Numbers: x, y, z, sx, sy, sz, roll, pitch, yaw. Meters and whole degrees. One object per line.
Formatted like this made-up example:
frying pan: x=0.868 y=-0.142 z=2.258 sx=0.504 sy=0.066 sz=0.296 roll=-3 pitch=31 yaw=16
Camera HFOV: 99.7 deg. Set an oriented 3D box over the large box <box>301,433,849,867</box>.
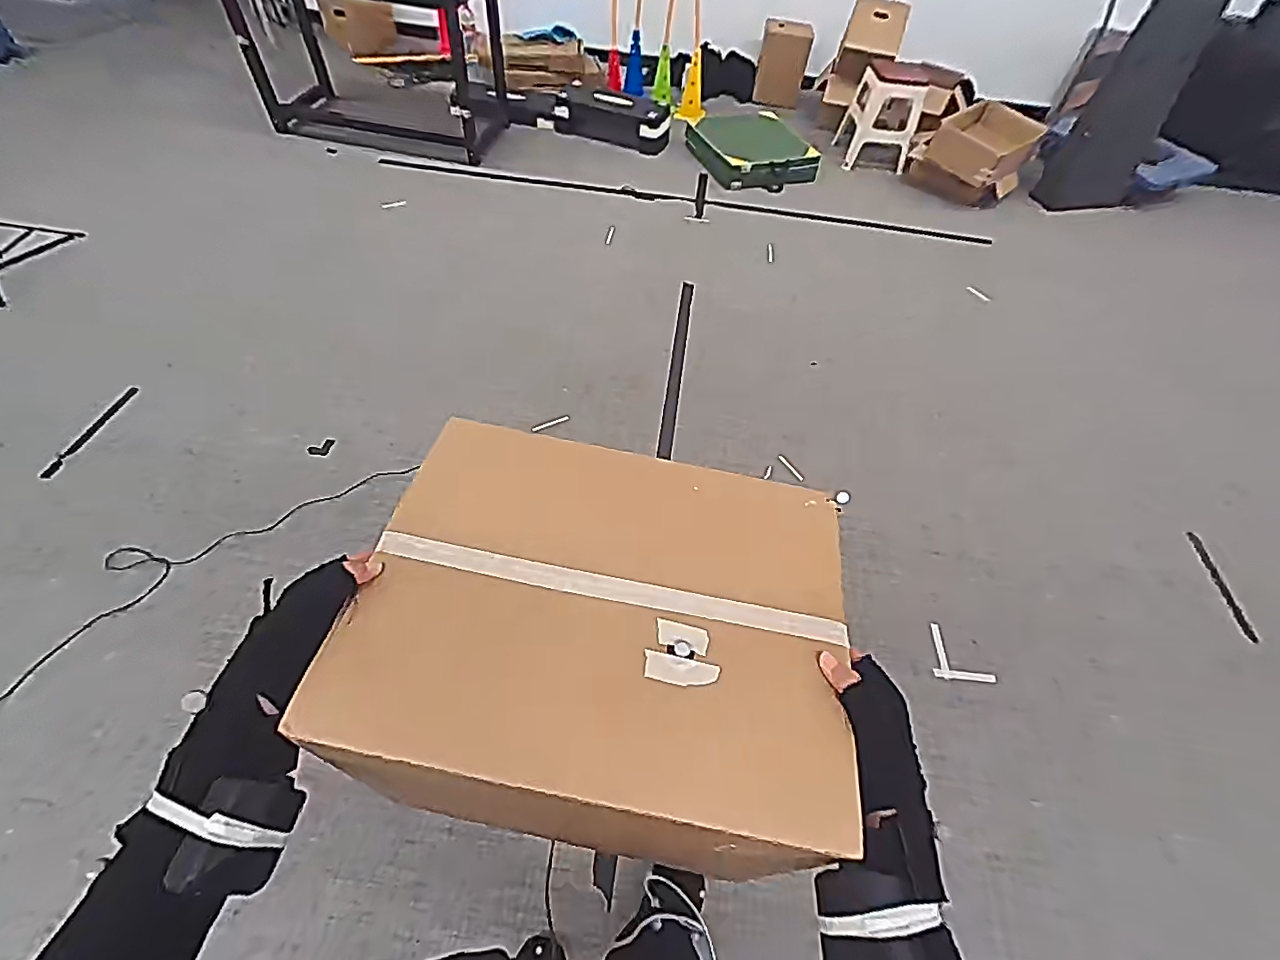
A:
large box: x=-0.042 y=0.192 z=0.587 sx=0.408 sy=0.320 sz=0.320 roll=11 pitch=52 yaw=1
